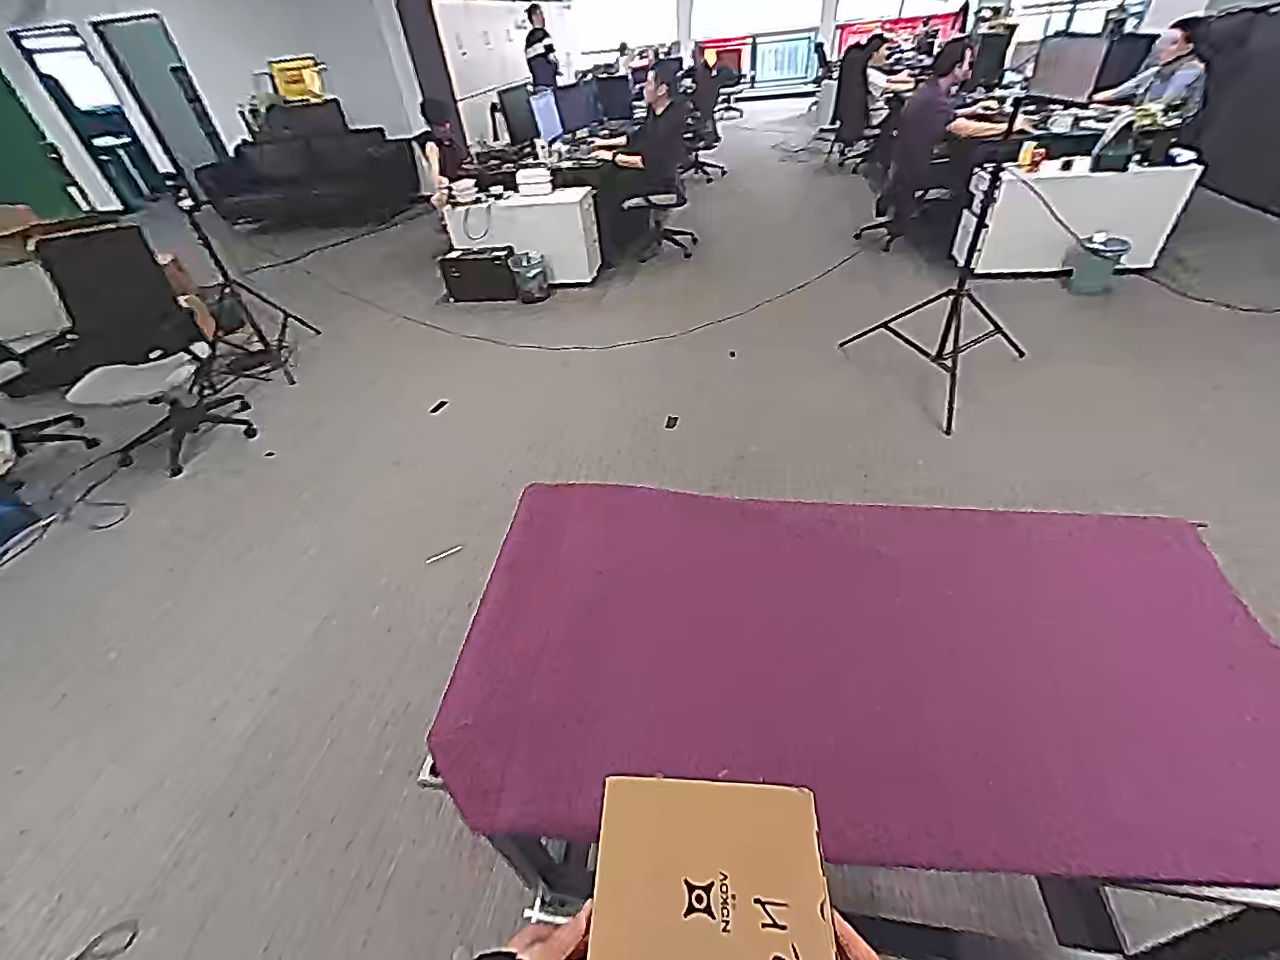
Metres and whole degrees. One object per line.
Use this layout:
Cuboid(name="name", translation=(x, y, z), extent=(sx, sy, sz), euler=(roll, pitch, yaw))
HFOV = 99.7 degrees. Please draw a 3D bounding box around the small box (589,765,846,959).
Cuboid(name="small box", translation=(0.058, 0.359, 0.447), extent=(0.179, 0.176, 0.168), euler=(2, 42, 4))
